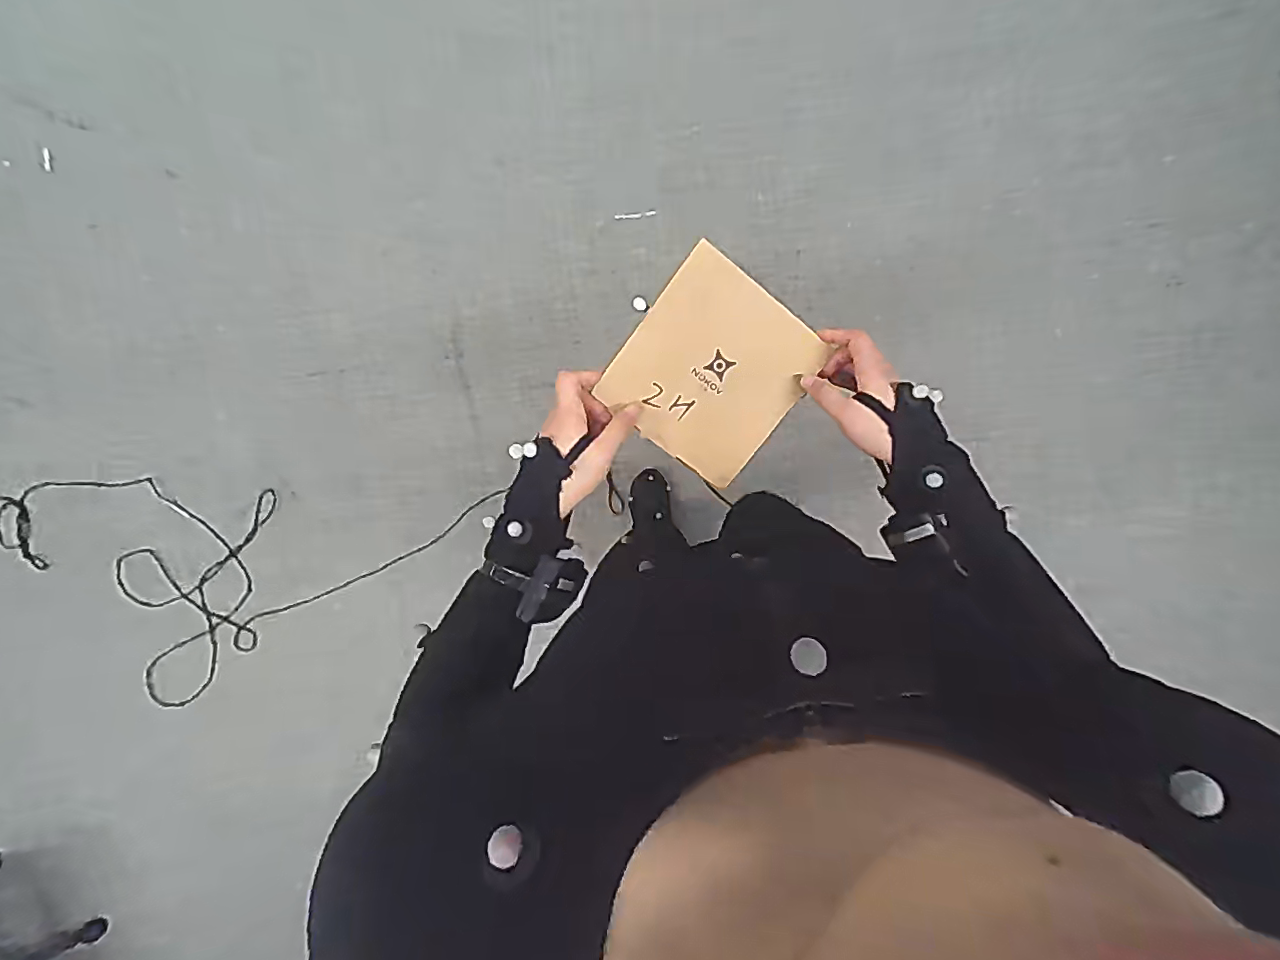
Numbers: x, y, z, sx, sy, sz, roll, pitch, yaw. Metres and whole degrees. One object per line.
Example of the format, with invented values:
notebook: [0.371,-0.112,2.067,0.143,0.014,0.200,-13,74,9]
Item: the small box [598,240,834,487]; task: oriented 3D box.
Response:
small box: [0.067,-0.125,0.590,0.168,0.176,0.179,36,101,-12]
